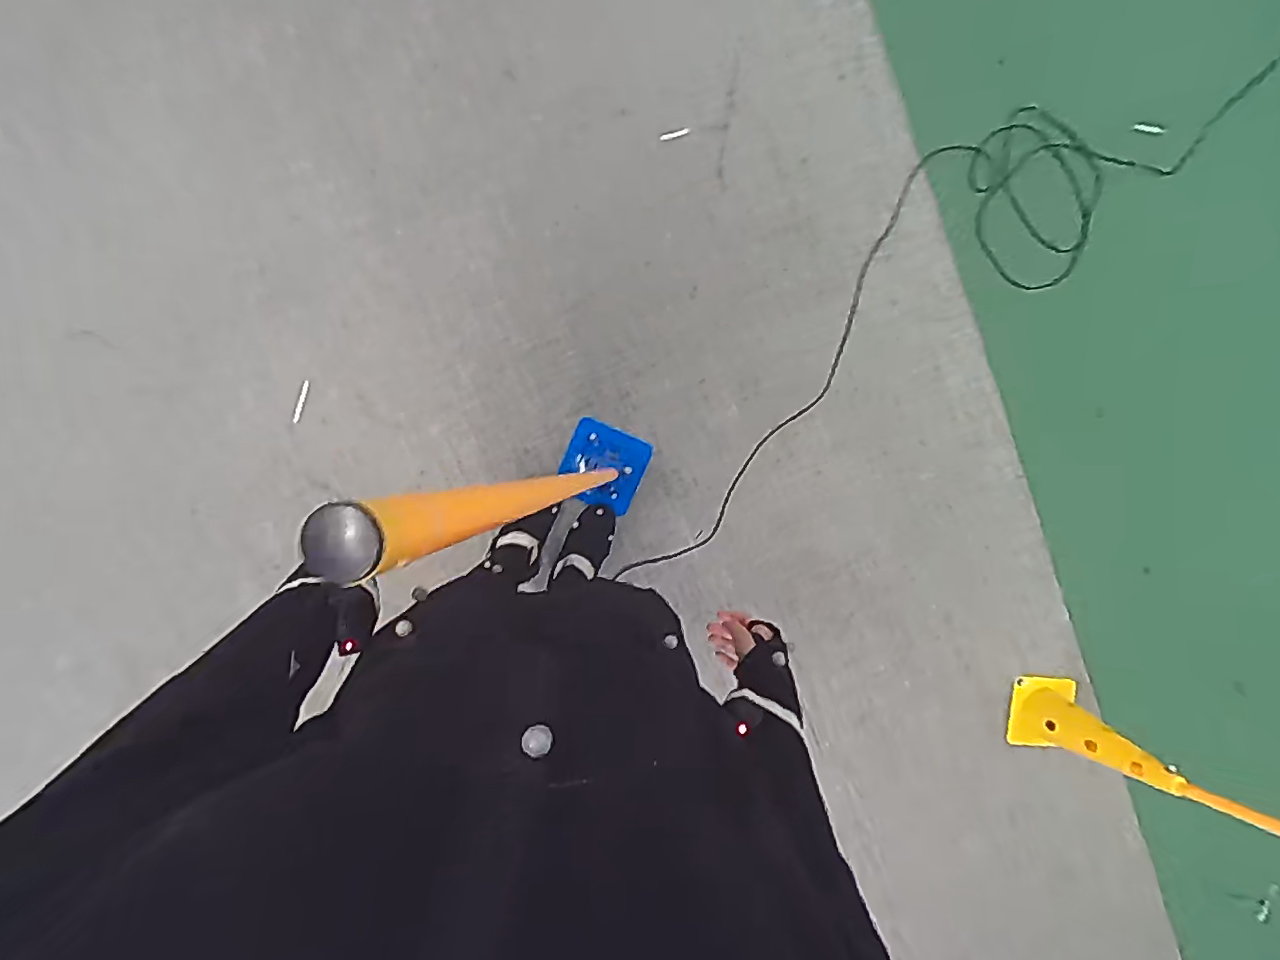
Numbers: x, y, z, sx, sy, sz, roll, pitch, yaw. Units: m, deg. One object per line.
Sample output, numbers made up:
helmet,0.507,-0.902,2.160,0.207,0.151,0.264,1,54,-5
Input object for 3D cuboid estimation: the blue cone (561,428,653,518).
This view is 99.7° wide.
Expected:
blue cone,-0.066,-0.007,1.149,0.193,0.380,0.192,23,90,-6
